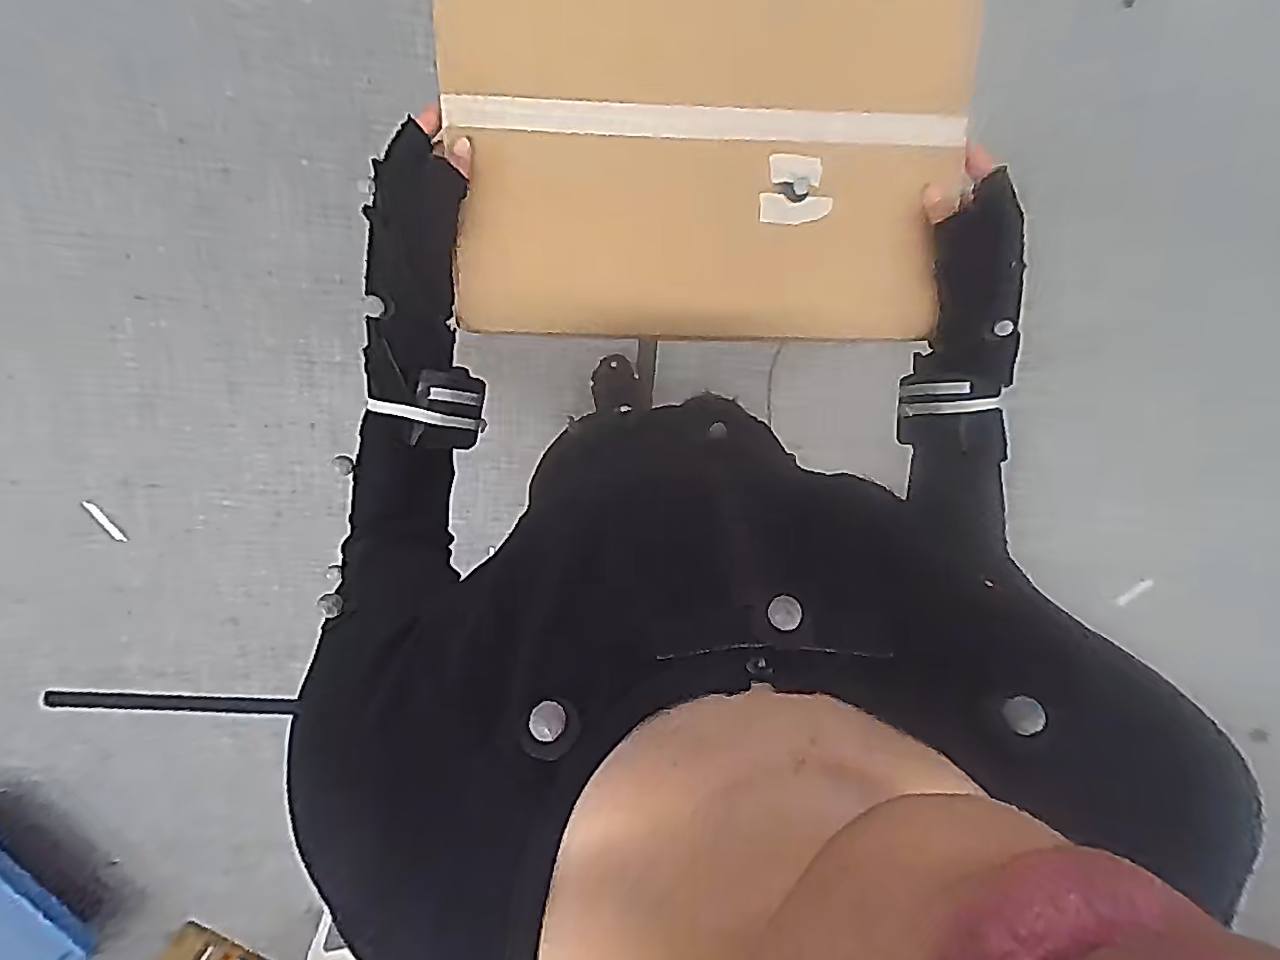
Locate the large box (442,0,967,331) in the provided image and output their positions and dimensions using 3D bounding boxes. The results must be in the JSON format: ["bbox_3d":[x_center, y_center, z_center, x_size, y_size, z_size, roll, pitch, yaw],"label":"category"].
[{"bbox_3d":[0.041,-0.321,0.567,0.408,0.320,0.320,-1,105,-5],"label":"large box"}]
